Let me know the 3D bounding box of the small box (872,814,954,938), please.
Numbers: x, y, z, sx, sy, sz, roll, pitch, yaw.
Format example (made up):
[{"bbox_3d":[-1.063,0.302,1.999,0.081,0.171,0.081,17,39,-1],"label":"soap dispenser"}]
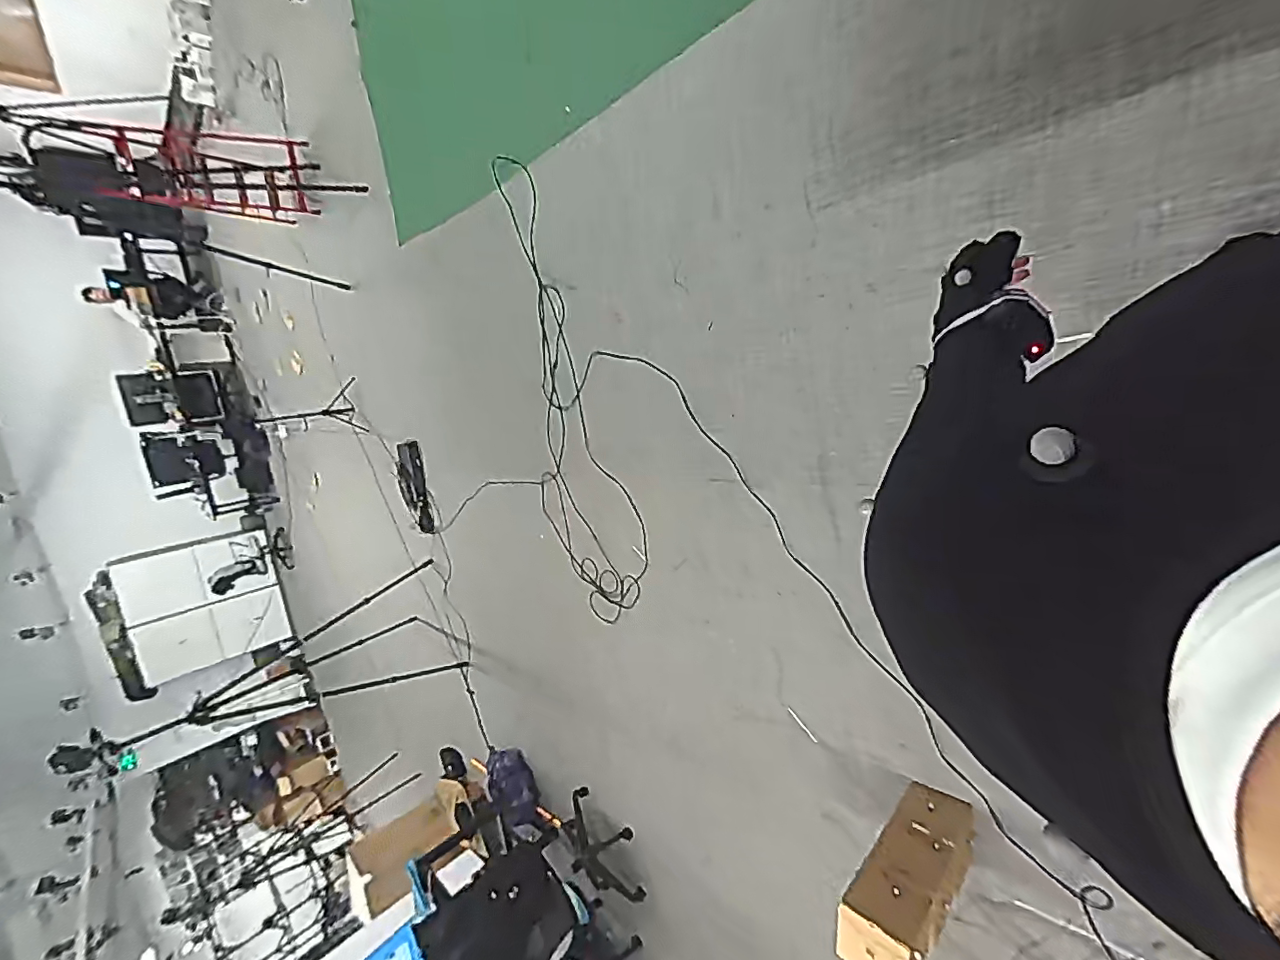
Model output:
[{"bbox_3d":[0.735,1.054,1.460,0.168,0.176,0.179,5,108,45],"label":"small box"}]

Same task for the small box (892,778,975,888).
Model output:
[{"bbox_3d":[0.853,1.011,1.569,0.168,0.176,0.179,1,103,48],"label":"small box"}]

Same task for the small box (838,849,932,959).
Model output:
[{"bbox_3d":[0.616,1.089,1.355,0.168,0.176,0.179,11,111,43],"label":"small box"}]
